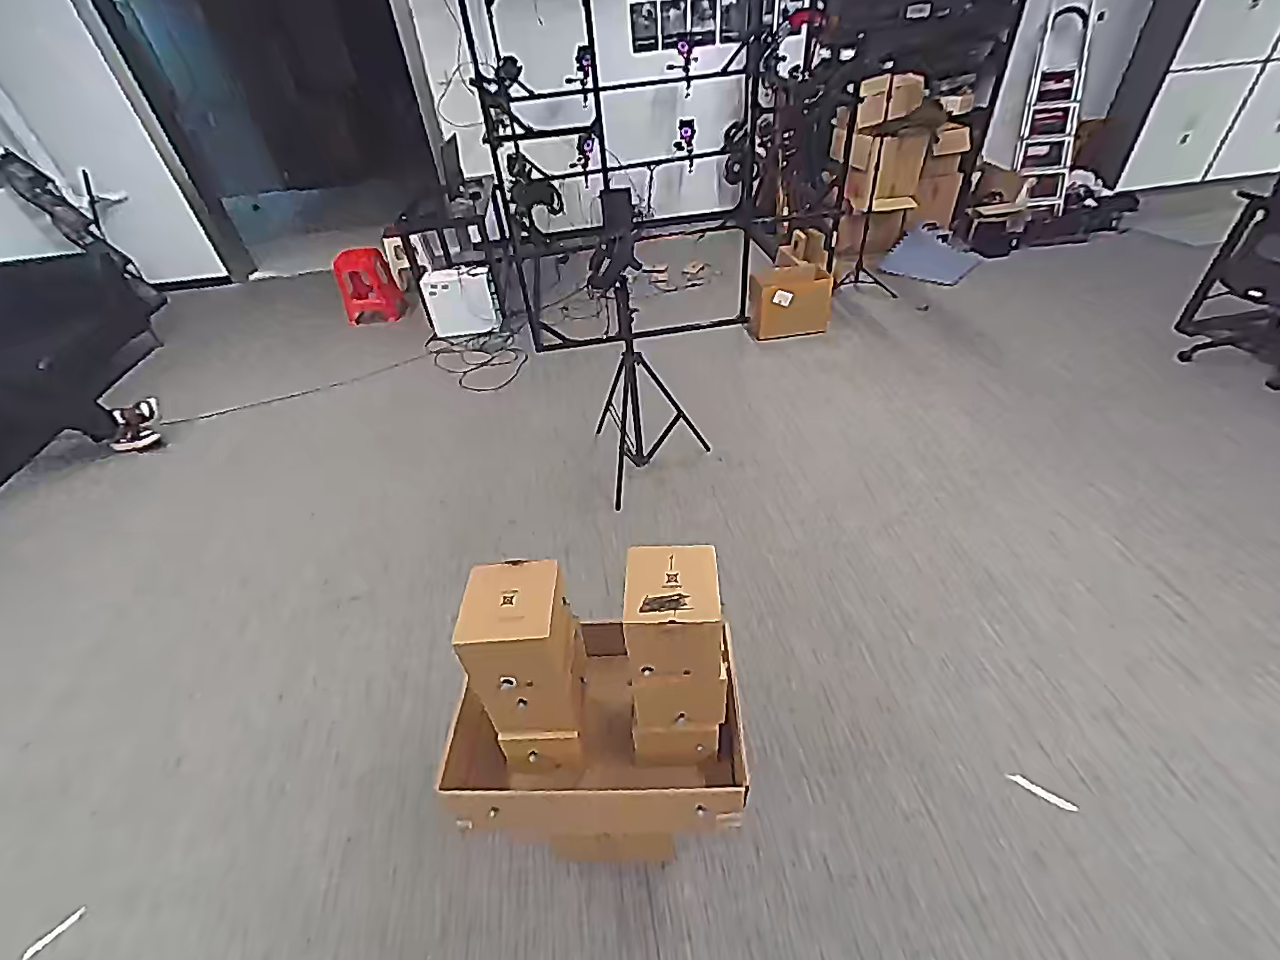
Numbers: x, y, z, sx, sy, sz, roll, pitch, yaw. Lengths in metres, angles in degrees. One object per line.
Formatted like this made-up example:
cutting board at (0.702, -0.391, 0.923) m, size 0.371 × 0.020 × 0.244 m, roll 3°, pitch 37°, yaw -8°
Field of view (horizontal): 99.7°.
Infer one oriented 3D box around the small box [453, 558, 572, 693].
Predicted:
small box at (-0.222, 0.266, 0.995) m, size 0.168 × 0.176 × 0.179 m, roll -4°, pitch 39°, yaw 2°

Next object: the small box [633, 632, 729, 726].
small box at (0.076, 0.374, 1.084) m, size 0.179 × 0.176 × 0.168 m, roll -3°, pitch 40°, yaw 1°

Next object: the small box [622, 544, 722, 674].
small box at (0.063, 0.238, 0.989) m, size 0.168 × 0.176 × 0.179 m, roll -2°, pitch 39°, yaw 5°

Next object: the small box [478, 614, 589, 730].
small box at (-0.207, 0.391, 1.100) m, size 0.179 × 0.176 × 0.168 m, roll -2°, pitch 40°, yaw 2°

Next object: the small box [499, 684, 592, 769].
small box at (-0.200, 0.522, 1.199) m, size 0.168 × 0.176 × 0.179 m, roll -3°, pitch 39°, yaw 1°
